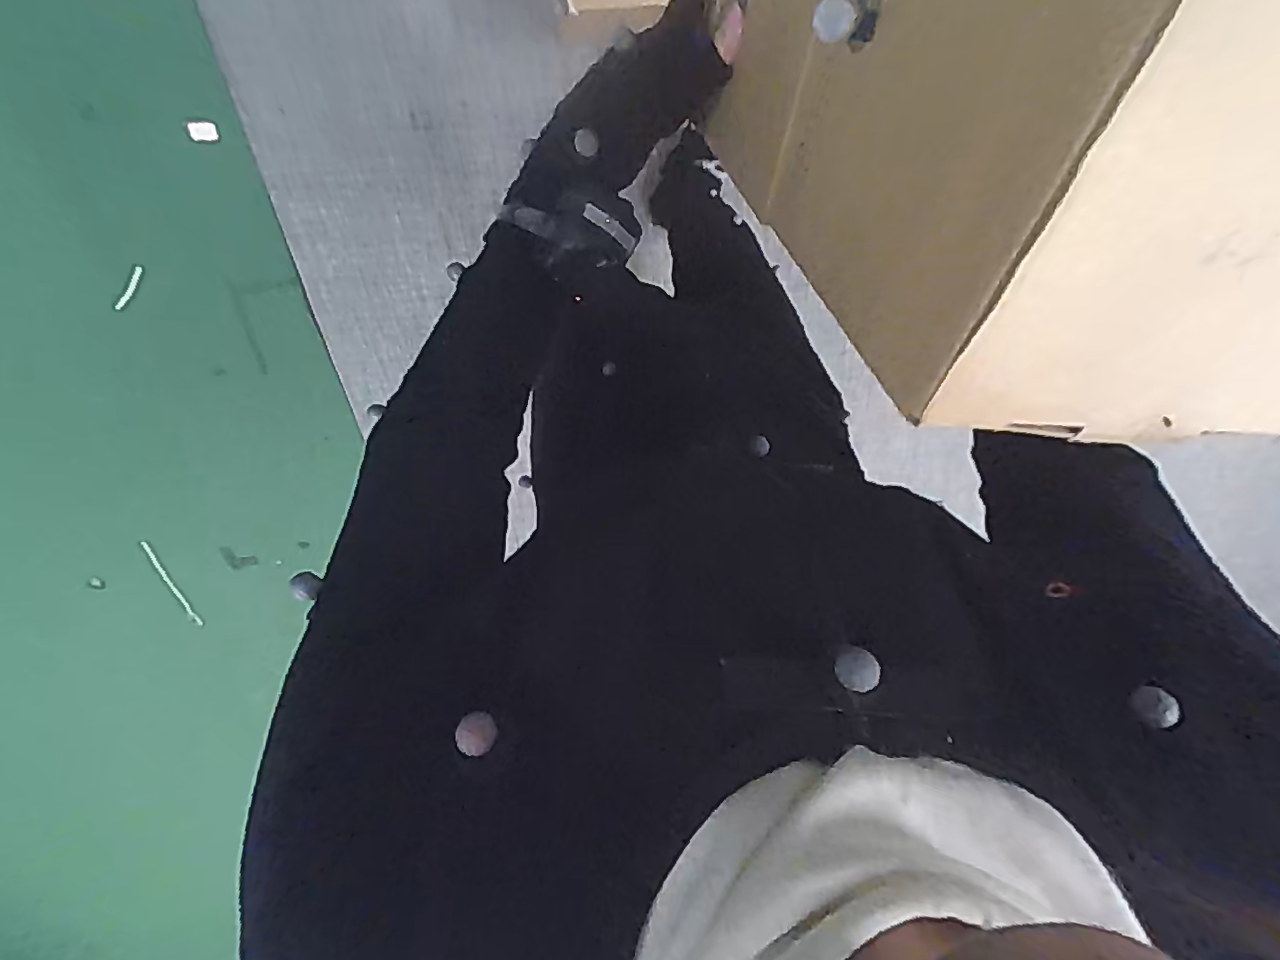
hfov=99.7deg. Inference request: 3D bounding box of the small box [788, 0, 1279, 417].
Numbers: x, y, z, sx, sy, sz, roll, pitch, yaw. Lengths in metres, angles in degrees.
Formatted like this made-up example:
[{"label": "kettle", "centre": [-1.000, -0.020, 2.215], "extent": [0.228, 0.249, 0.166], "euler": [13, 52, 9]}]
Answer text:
[{"label": "small box", "centre": [0.162, -0.141, 0.175], "extent": [0.168, 0.176, 0.179], "euler": [0, 136, -7]}]
